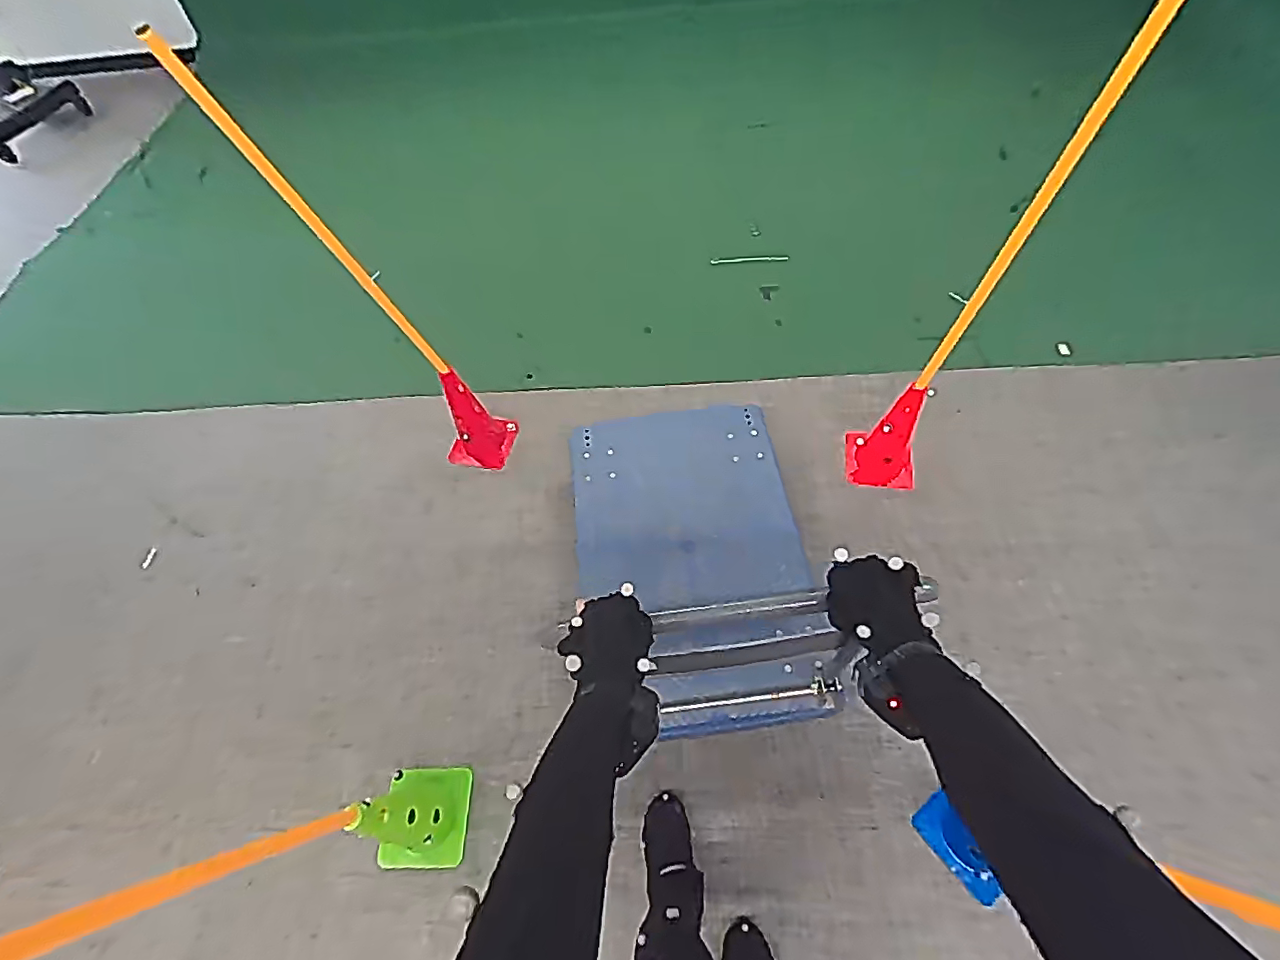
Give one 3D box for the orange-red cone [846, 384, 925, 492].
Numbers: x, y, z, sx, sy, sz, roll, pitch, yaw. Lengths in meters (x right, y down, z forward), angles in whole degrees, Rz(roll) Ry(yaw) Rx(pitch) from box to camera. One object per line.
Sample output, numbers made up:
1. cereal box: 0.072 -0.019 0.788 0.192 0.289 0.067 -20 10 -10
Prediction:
1. orange-red cone: 0.733 -0.141 1.544 0.198 0.360 0.199 7 60 10
